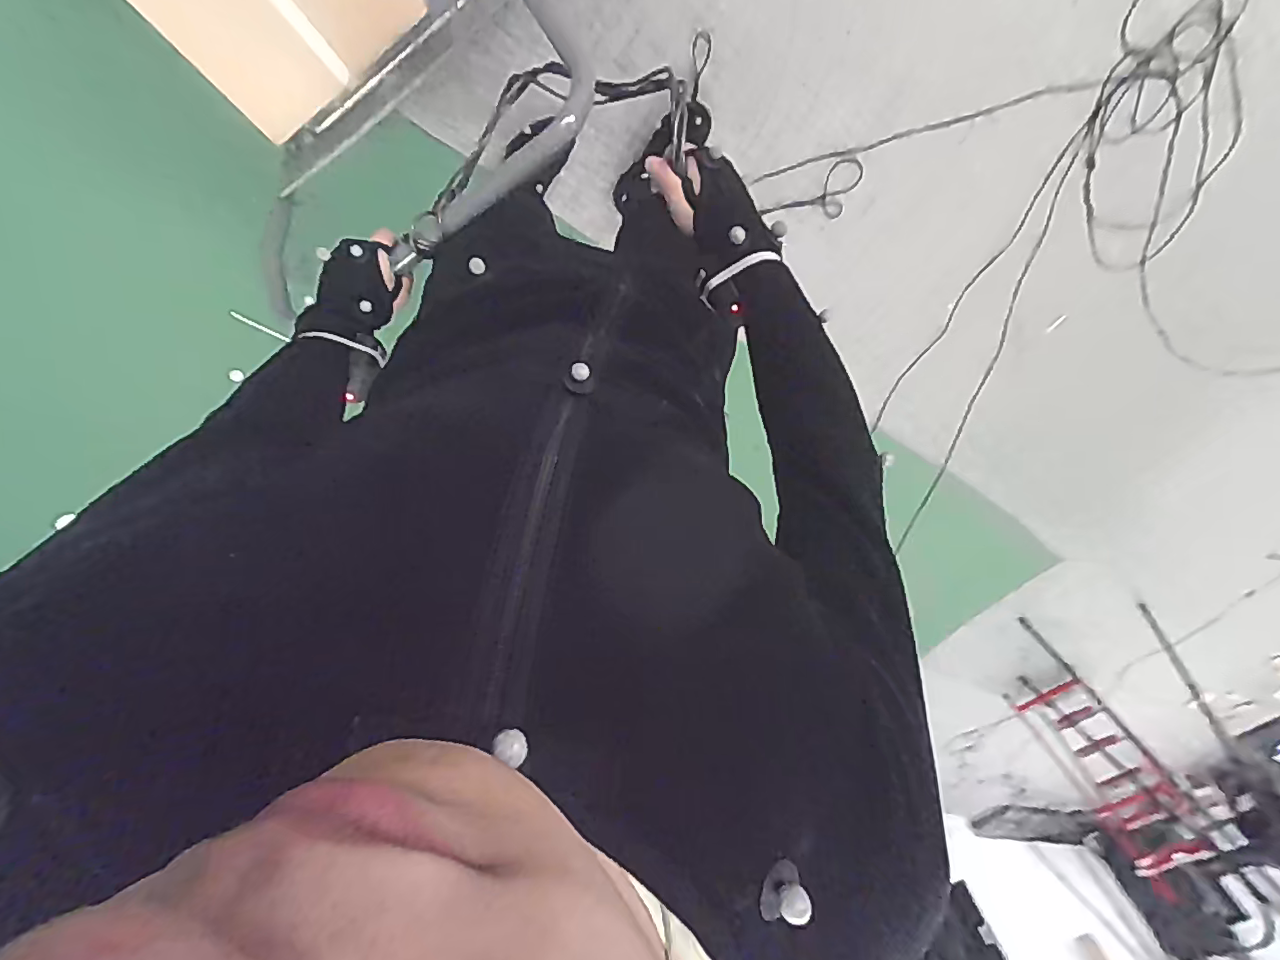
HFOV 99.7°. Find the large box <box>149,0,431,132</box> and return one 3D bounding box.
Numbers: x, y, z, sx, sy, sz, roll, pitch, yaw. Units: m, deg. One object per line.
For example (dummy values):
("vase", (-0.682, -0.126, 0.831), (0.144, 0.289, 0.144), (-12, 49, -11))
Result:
("large box", (-0.542, -0.804, 0.744), (0.320, 0.320, 0.408), (-30, 139, 13))
